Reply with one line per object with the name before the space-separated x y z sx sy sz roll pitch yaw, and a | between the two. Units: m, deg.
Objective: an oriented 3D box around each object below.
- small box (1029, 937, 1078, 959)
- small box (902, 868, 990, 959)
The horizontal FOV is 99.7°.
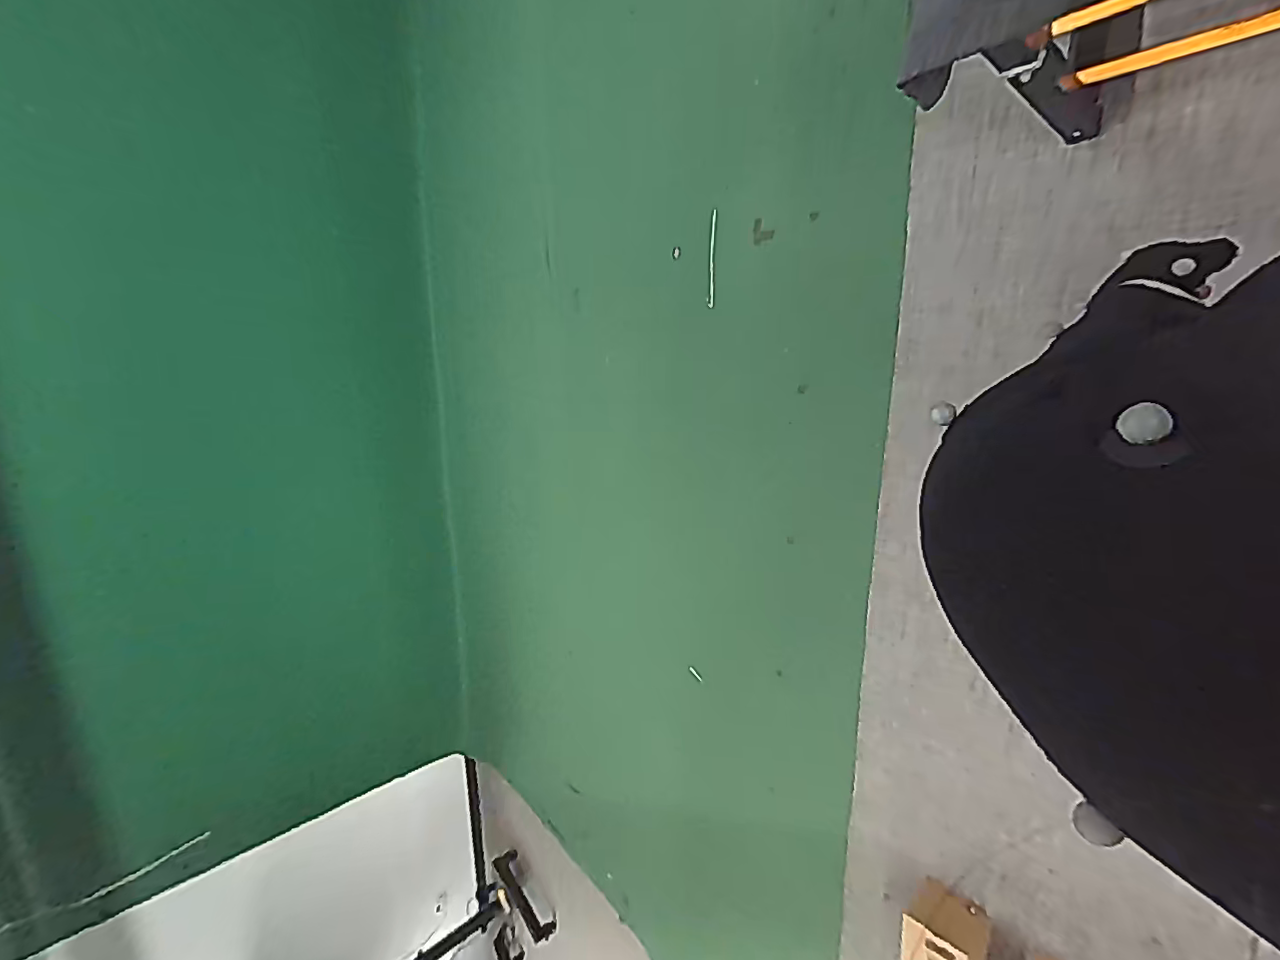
small box | 1.040 1.302 1.327 0.168 0.176 0.179 16 110 47
small box | 0.864 1.257 1.525 0.168 0.176 0.179 12 108 48
